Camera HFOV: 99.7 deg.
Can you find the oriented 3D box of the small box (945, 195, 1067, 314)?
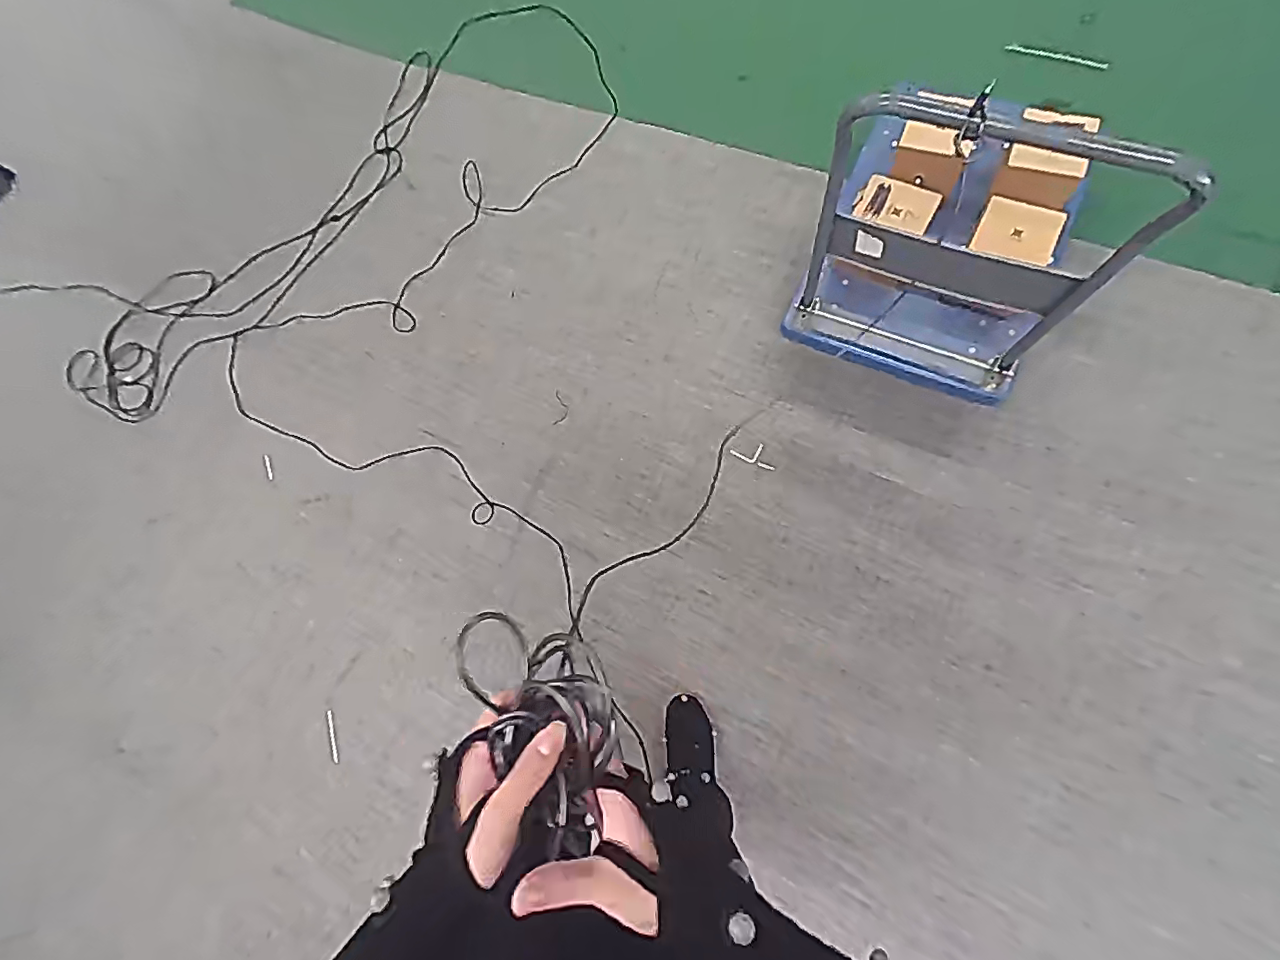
[{"bbox_3d":[0.868,-0.536,1.302,0.168,0.176,0.179,25,81,15],"label":"small box"}]

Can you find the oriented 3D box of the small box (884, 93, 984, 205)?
[{"bbox_3d":[0.757,-0.856,1.412,0.168,0.176,0.179,20,79,14],"label":"small box"}]

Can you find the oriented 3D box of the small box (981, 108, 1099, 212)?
[{"bbox_3d":[0.987,-0.775,1.348,0.168,0.176,0.179,20,80,15],"label":"small box"}]
